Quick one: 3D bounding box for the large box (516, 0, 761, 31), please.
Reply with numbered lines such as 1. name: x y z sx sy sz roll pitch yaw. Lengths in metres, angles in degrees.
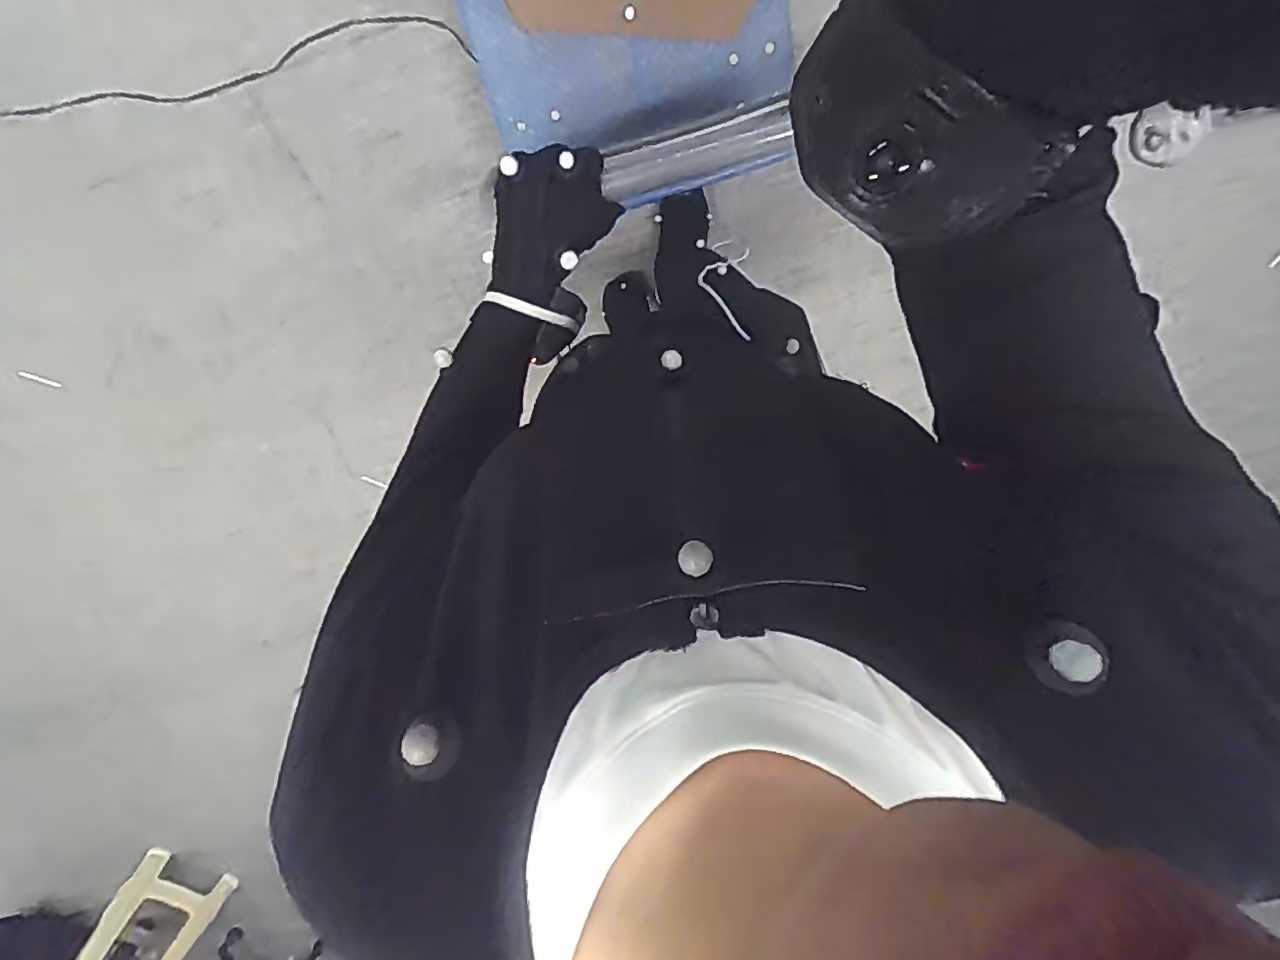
1. large box: -0.001 -0.901 0.796 0.408 0.320 0.320 1 114 0
